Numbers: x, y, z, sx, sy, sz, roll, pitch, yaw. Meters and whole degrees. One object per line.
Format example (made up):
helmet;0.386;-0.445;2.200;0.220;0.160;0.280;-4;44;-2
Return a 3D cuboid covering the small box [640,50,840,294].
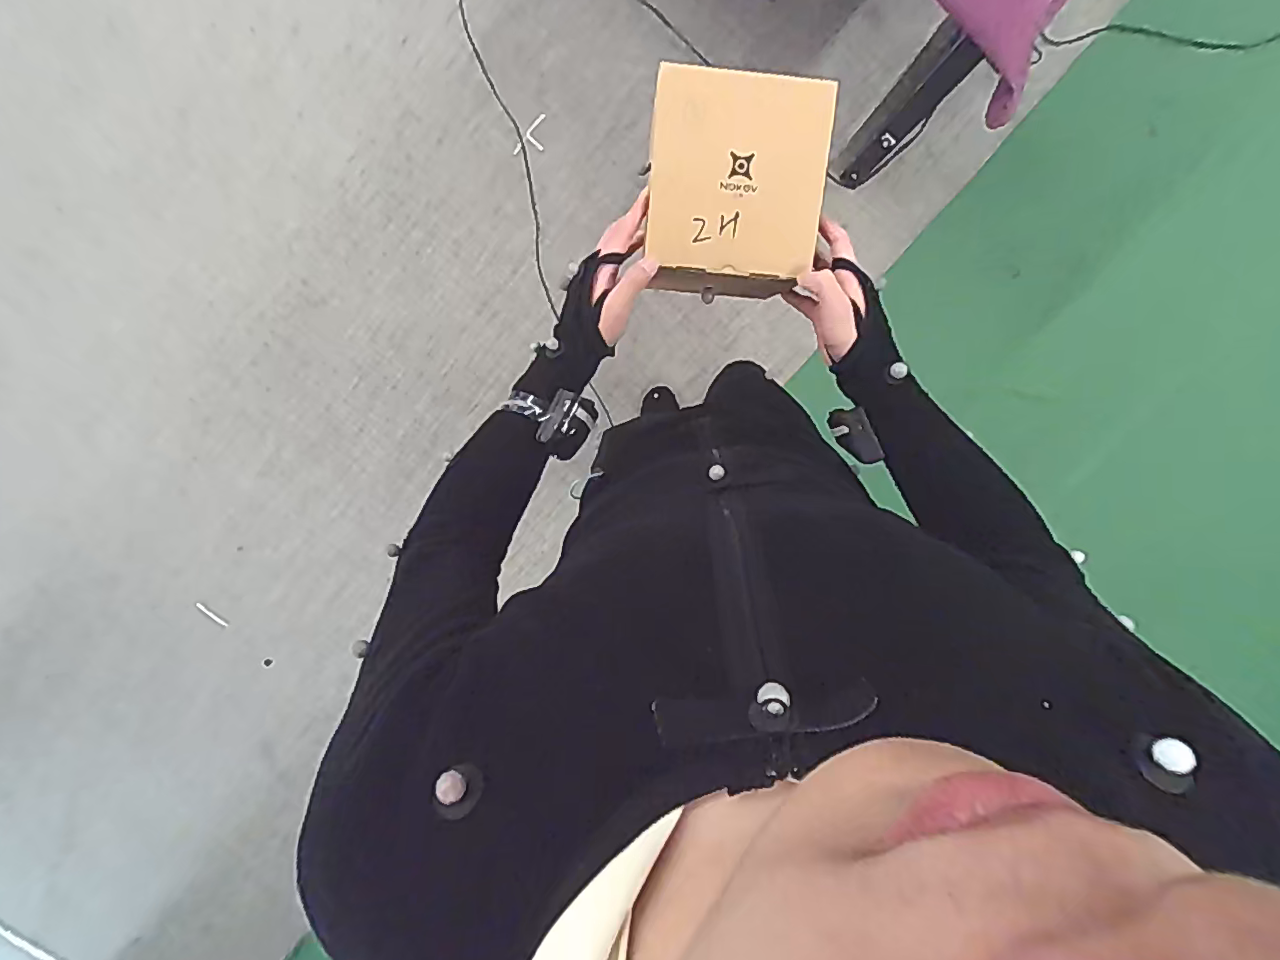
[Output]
small box;0.090;-0.307;0.577;0.168;0.176;0.179;5;103;-2
